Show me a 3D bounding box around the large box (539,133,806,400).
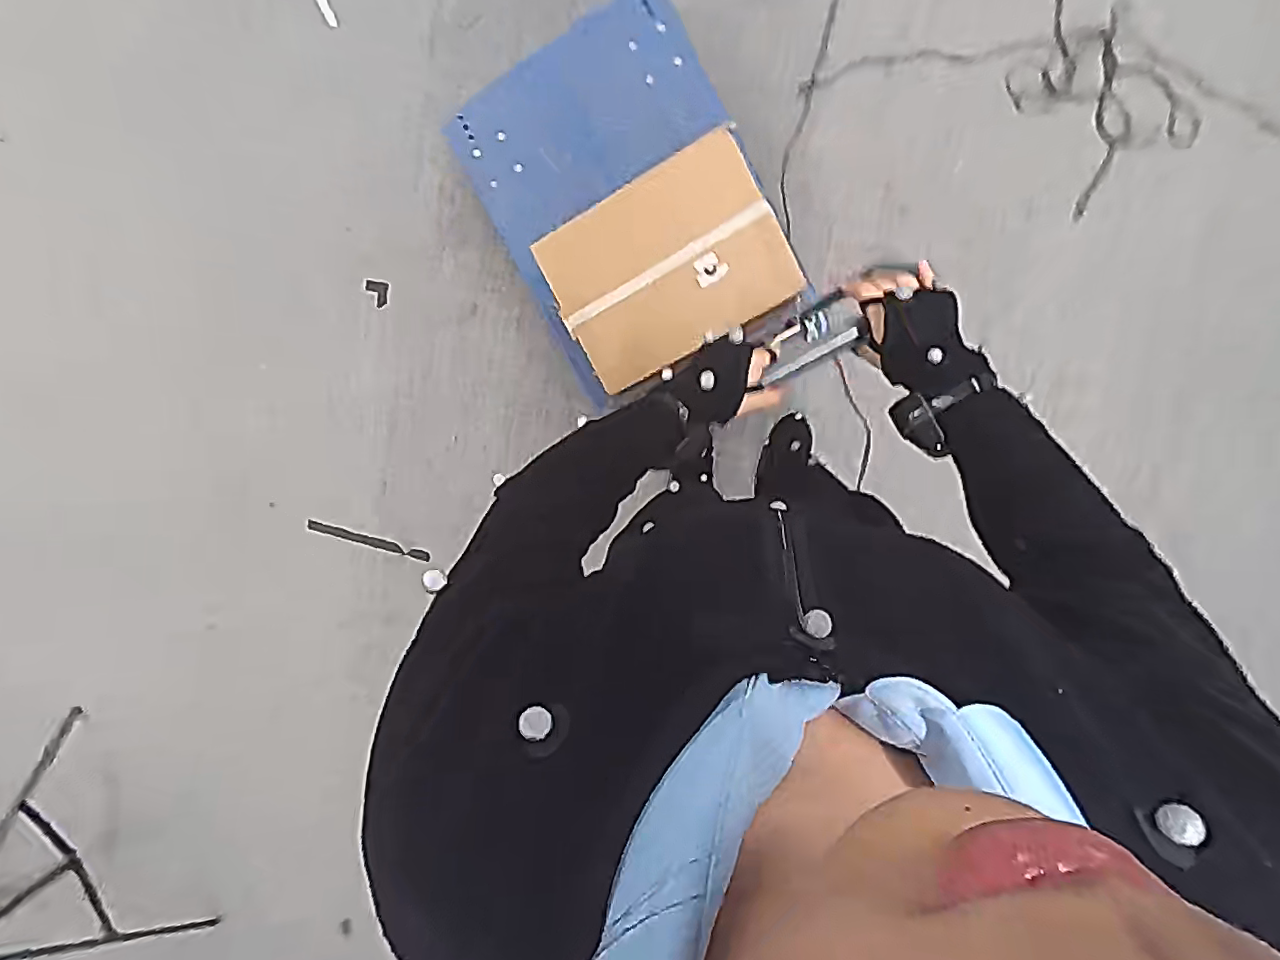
[{"bbox_3d":[0.067,-0.396,1.122,0.408,0.320,0.320,-28,95,9],"label":"large box"}]
